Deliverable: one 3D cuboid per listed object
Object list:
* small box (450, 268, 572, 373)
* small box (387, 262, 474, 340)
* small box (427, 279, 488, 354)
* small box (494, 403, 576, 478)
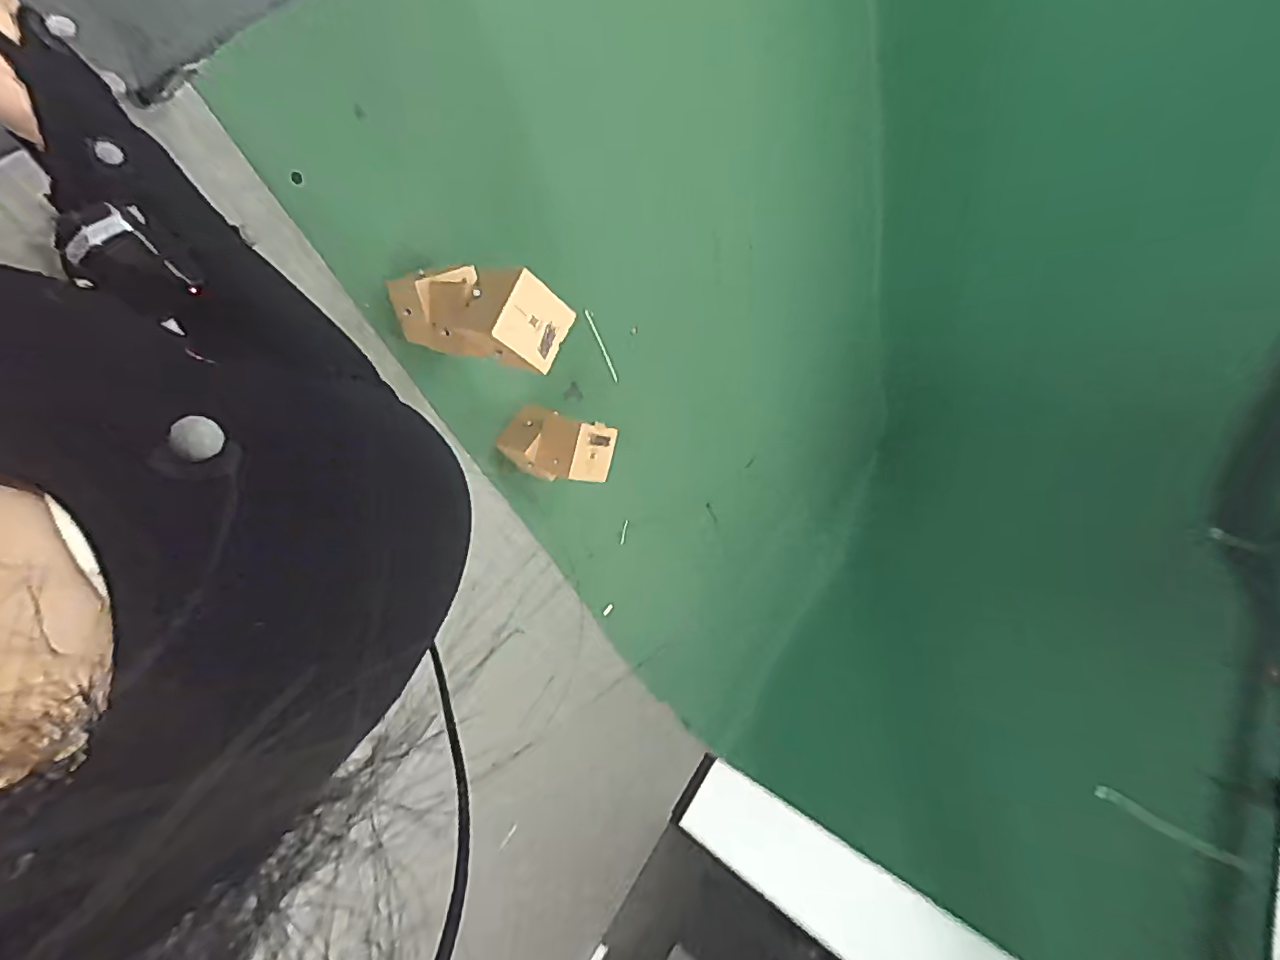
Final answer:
[{"bbox_3d":[-0.297,-0.371,1.246,0.179,0.176,0.168,33,80,-50],"label":"small box"},{"bbox_3d":[-0.543,-0.476,1.436,0.179,0.176,0.168,-36,131,-36],"label":"small box"},{"bbox_3d":[-0.416,-0.408,1.354,0.179,0.176,0.168,-13,116,-48],"label":"small box"},{"bbox_3d":[-0.352,-0.137,1.805,0.179,0.176,0.168,-57,140,-18],"label":"small box"}]
